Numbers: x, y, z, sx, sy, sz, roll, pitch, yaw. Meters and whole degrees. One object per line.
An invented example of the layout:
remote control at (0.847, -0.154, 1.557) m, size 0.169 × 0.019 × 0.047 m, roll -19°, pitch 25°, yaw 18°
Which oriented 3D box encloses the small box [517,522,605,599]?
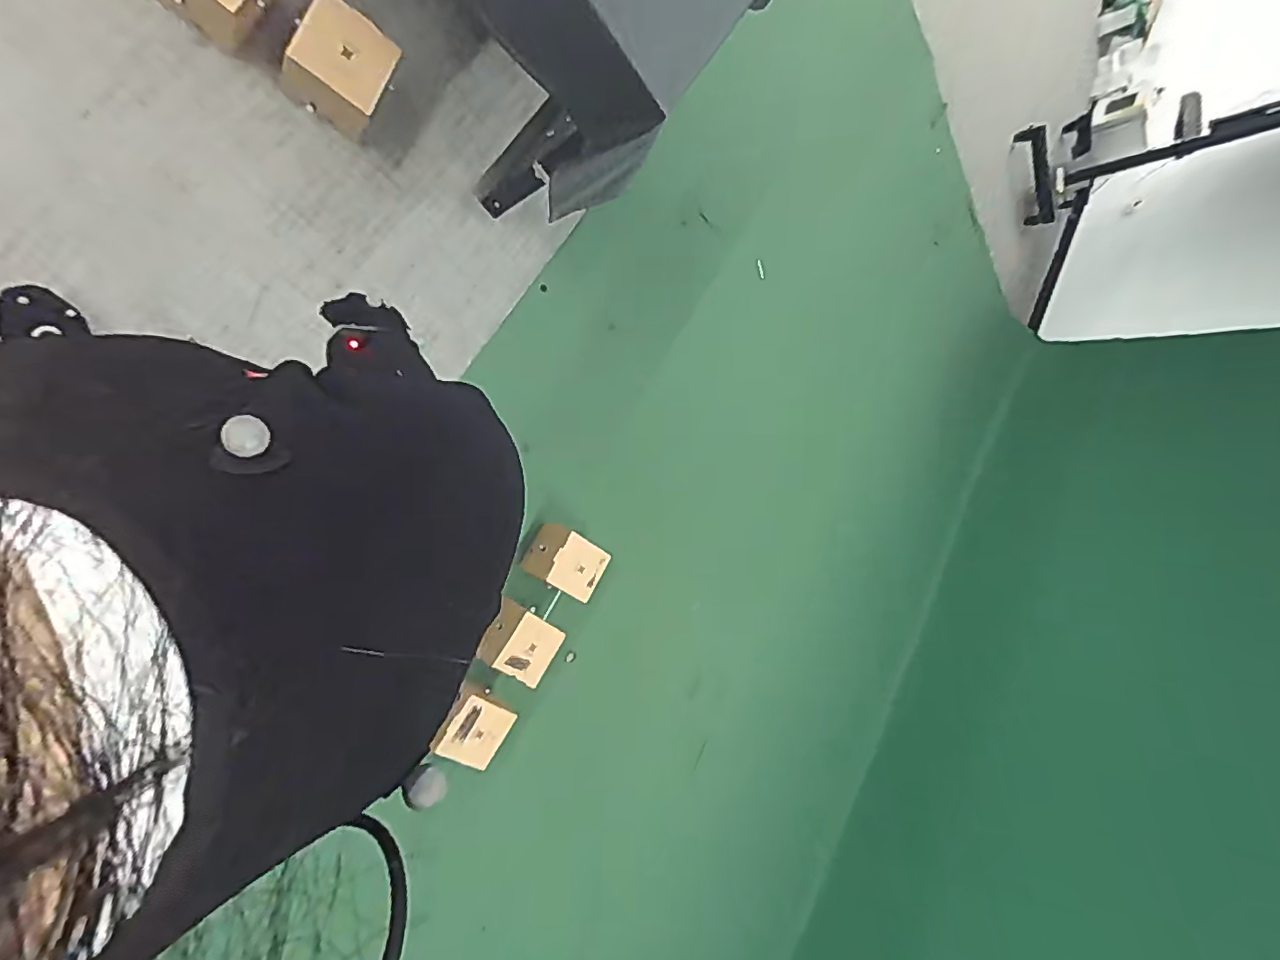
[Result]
small box at (-0.249, 0.243, 1.677) m, size 0.179 × 0.176 × 0.168 m, roll 40°, pitch 72°, yaw -34°

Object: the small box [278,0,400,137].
small box at (-0.656, -0.897, 1.170) m, size 0.168 × 0.176 × 0.179 m, roll 27°, pitch 79°, yaw -38°
